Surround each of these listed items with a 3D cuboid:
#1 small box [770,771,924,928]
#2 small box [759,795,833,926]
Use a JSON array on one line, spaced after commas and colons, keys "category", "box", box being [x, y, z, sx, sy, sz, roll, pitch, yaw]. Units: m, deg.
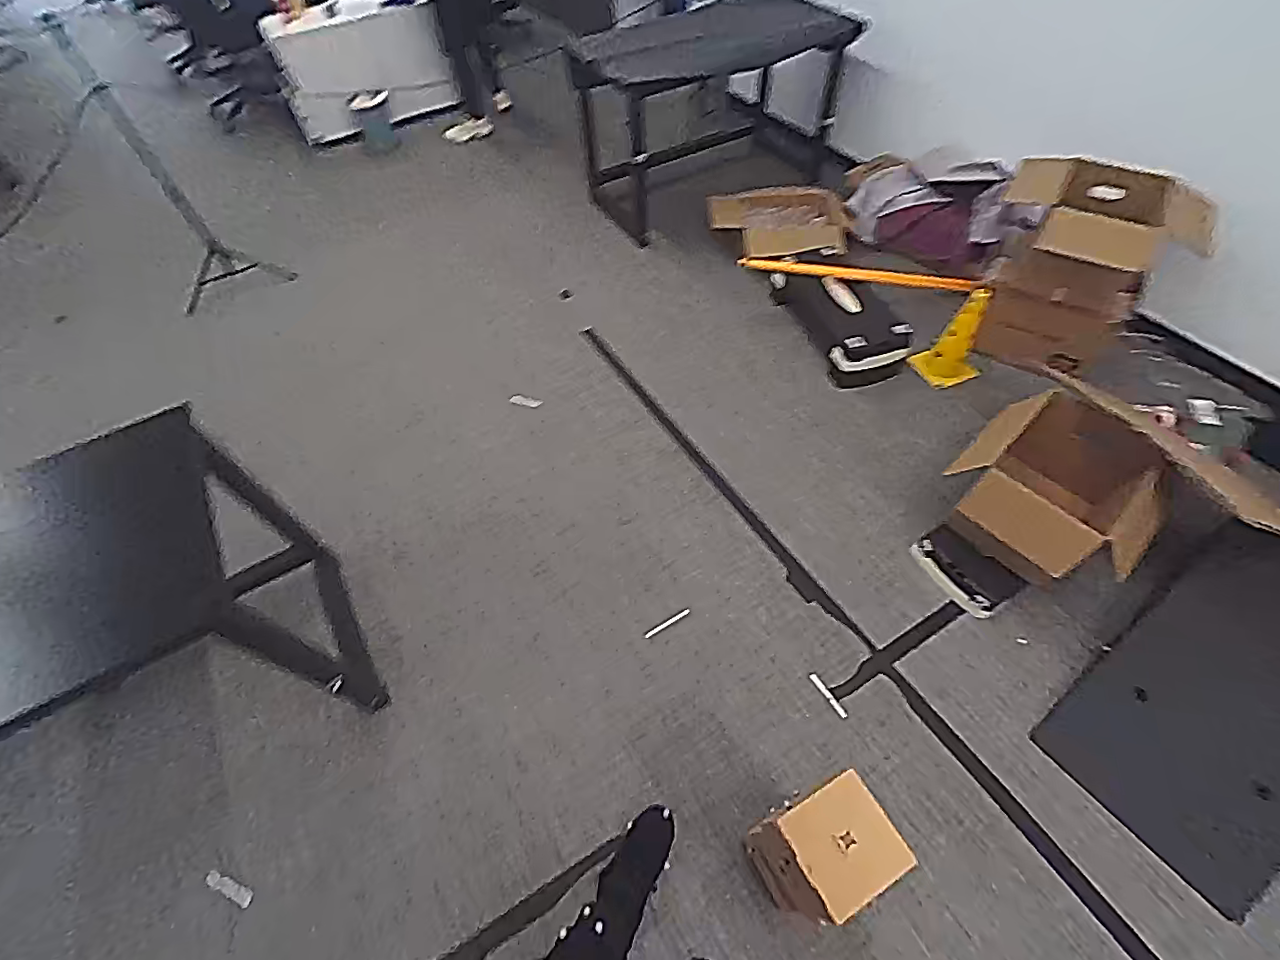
[{"category": "small box", "box": [0.359, 0.656, 0.976, 0.179, 0.176, 0.168, -26, 59, -14]}, {"category": "small box", "box": [0.365, 0.758, 1.103, 0.168, 0.176, 0.179, -27, 60, -15]}]
